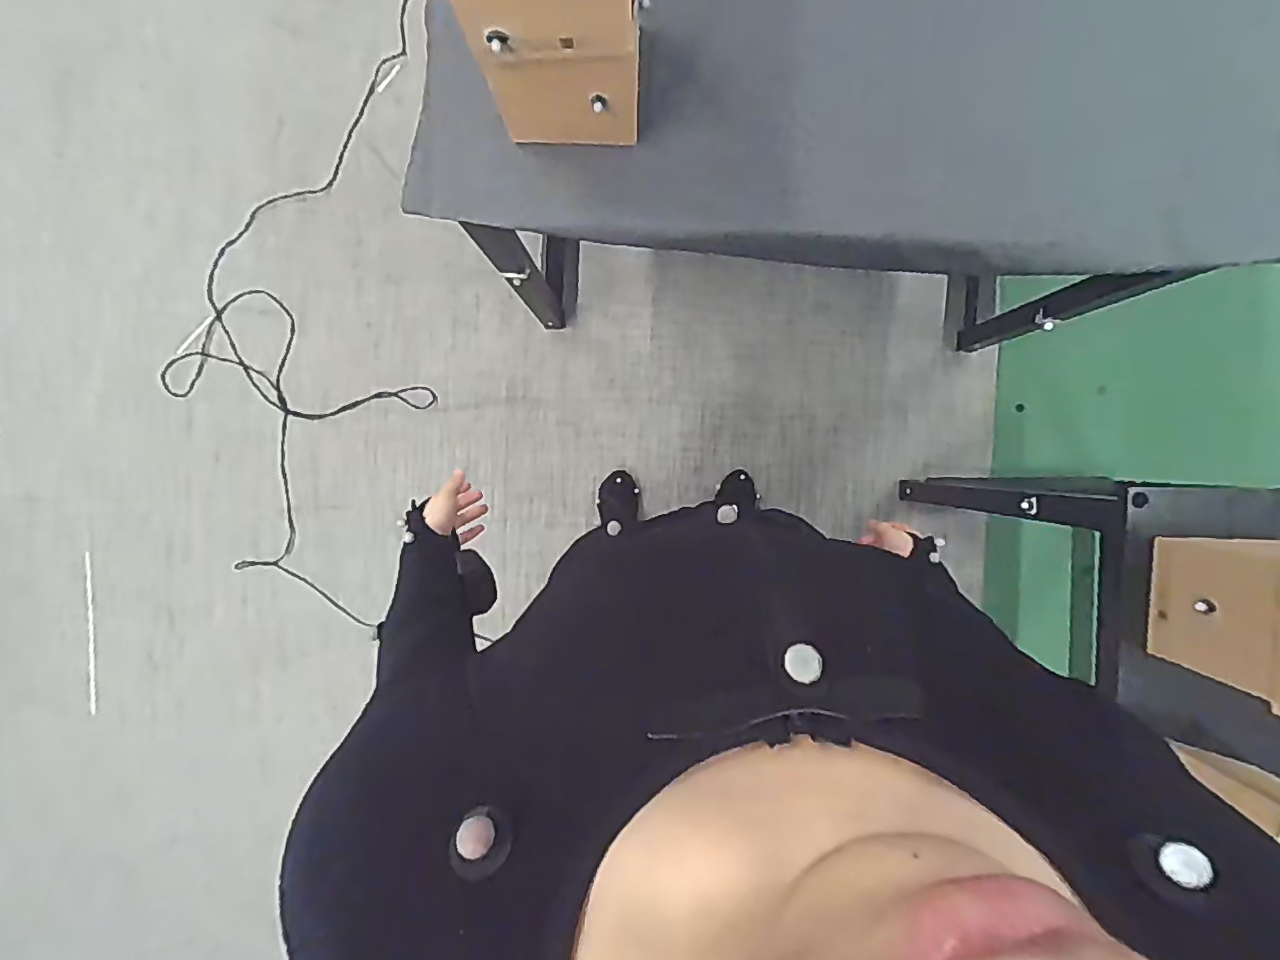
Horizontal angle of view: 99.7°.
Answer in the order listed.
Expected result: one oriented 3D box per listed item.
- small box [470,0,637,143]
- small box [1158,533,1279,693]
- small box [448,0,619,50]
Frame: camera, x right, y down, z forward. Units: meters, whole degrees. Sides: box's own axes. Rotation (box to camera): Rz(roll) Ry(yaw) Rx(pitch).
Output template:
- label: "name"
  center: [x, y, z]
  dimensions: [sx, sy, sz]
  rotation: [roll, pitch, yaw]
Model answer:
- label: "small box"
  center: [-0.094, -0.544, 0.664]
  dimensions: [0.179, 0.176, 0.168]
  rotation: [1, 90, 2]
- label: "small box"
  center: [0.797, 0.160, 0.662]
  dimensions: [0.179, 0.176, 0.168]
  rotation: [1, 94, 2]
- label: "small box"
  center: [-0.109, -0.540, 0.499]
  dimensions: [0.168, 0.176, 0.179]
  rotation: [-3, 90, 1]
